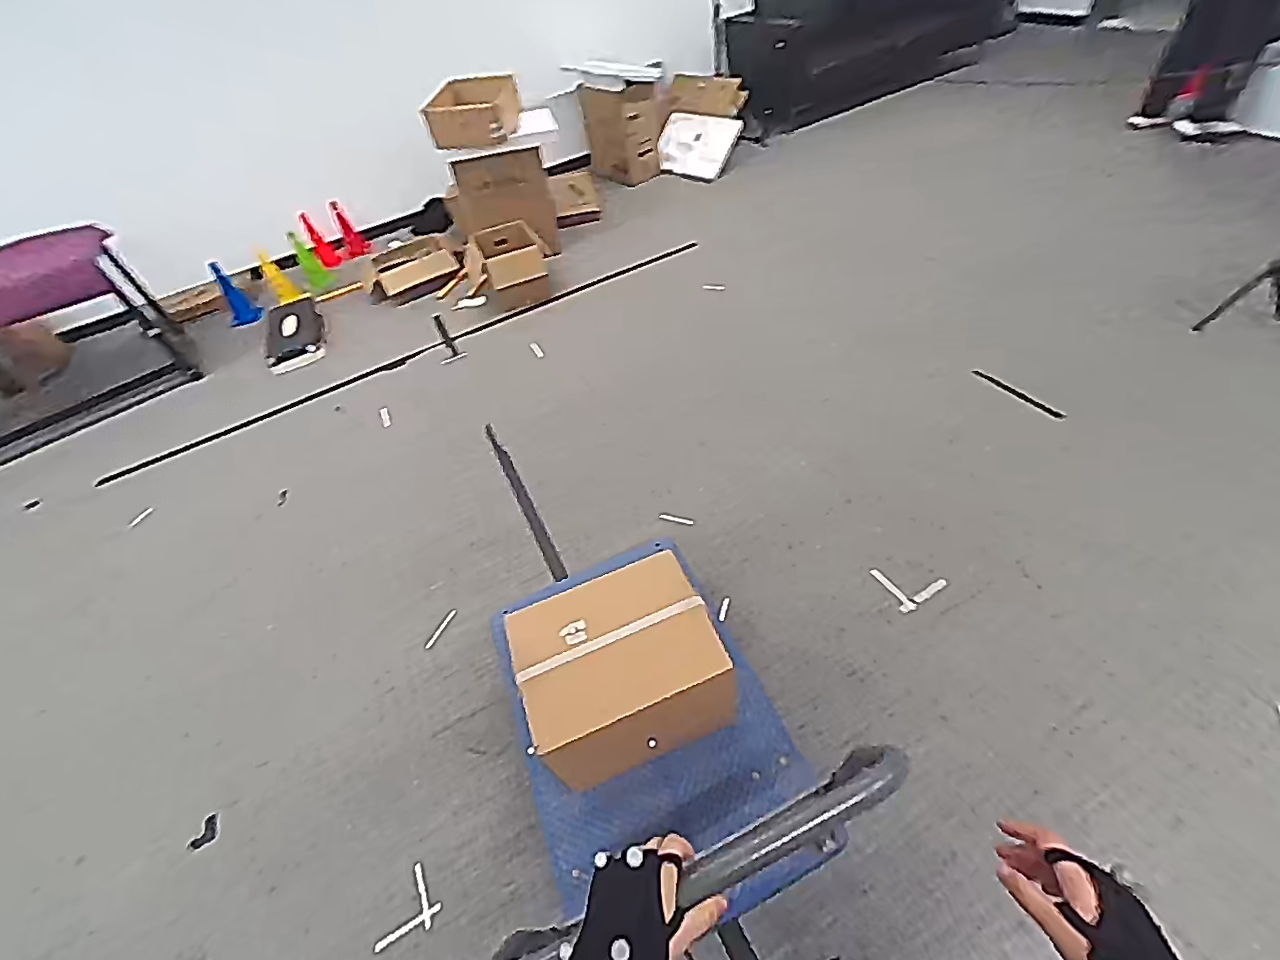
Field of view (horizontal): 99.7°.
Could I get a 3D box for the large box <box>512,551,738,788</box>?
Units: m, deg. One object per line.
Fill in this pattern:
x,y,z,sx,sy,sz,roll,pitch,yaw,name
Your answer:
-0.025,0.433,1.238,0.408,0.320,0.320,-22,47,-8,large box
